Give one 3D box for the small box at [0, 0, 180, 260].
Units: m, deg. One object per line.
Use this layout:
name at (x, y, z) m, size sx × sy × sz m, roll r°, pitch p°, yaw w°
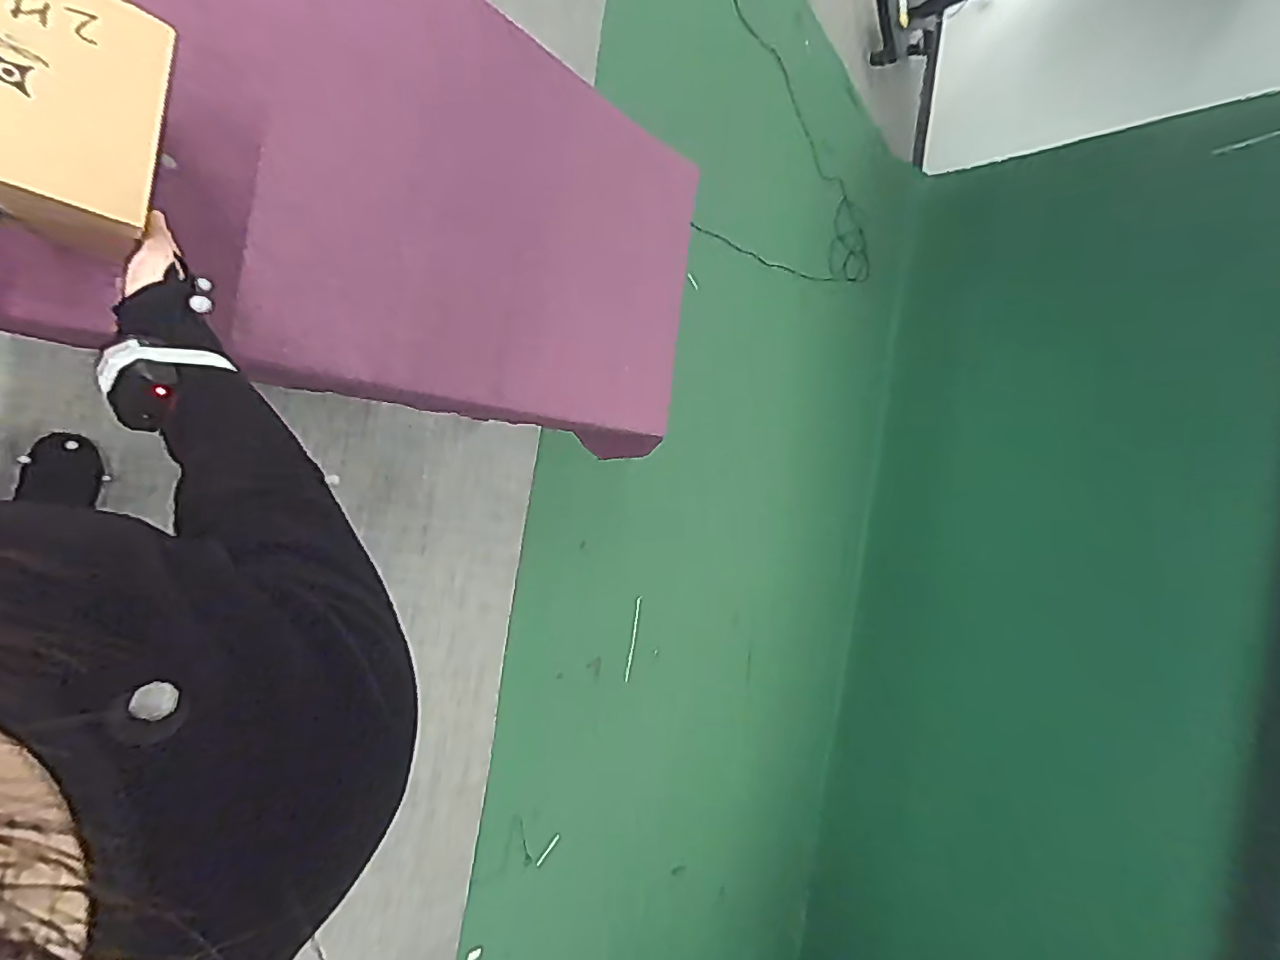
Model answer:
small box at (-0.514, -0.307, 0.451) m, size 0.168 × 0.176 × 0.179 m, roll 9°, pitch 89°, yaw -48°
